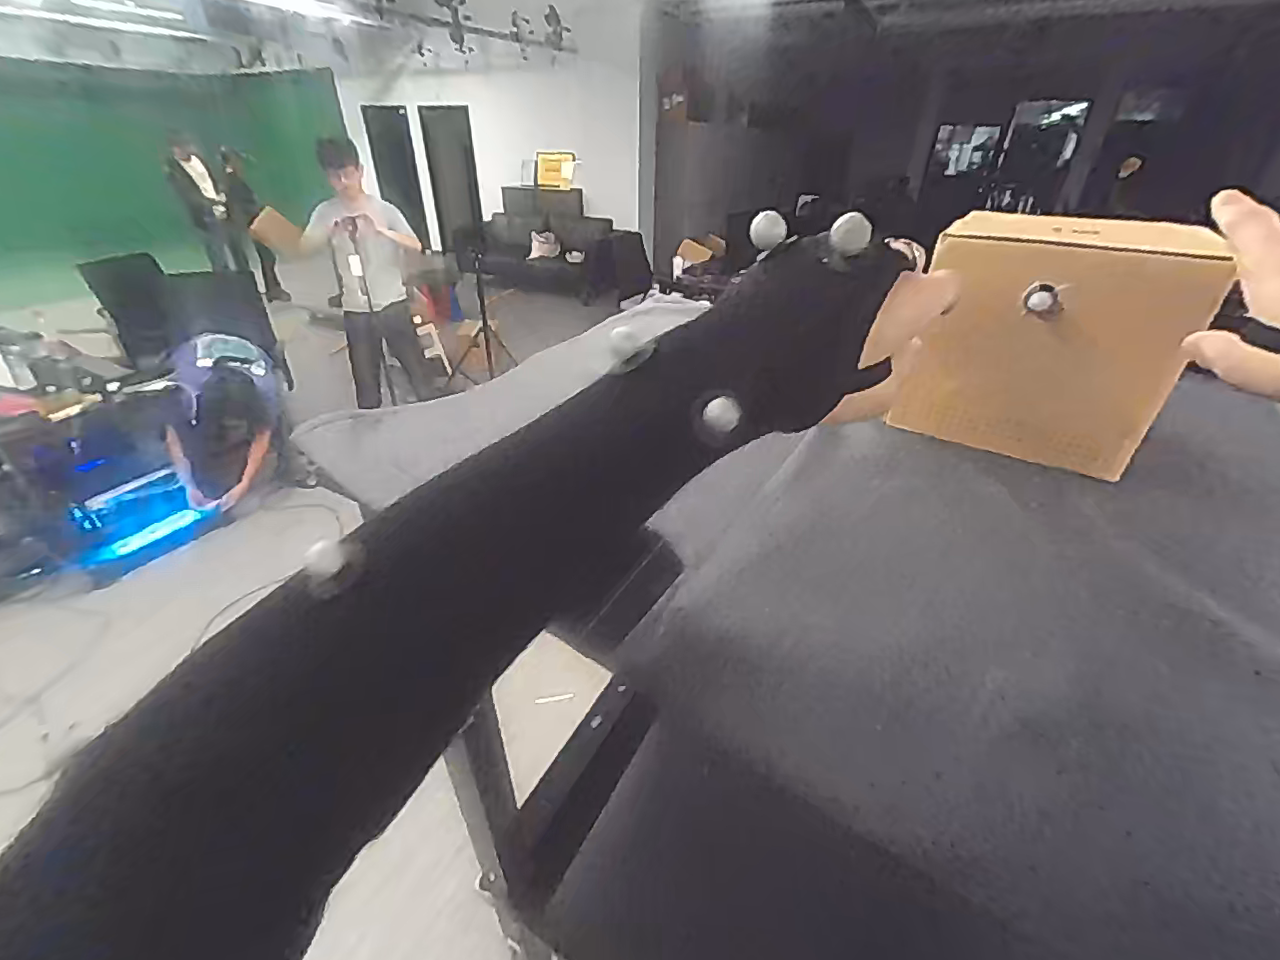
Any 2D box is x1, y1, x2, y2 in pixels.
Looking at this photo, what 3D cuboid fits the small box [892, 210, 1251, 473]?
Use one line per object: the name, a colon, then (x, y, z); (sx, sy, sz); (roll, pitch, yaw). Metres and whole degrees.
small box: (0.346, -0.125, 0.467); (0.179, 0.176, 0.168); (21, 38, 29)
